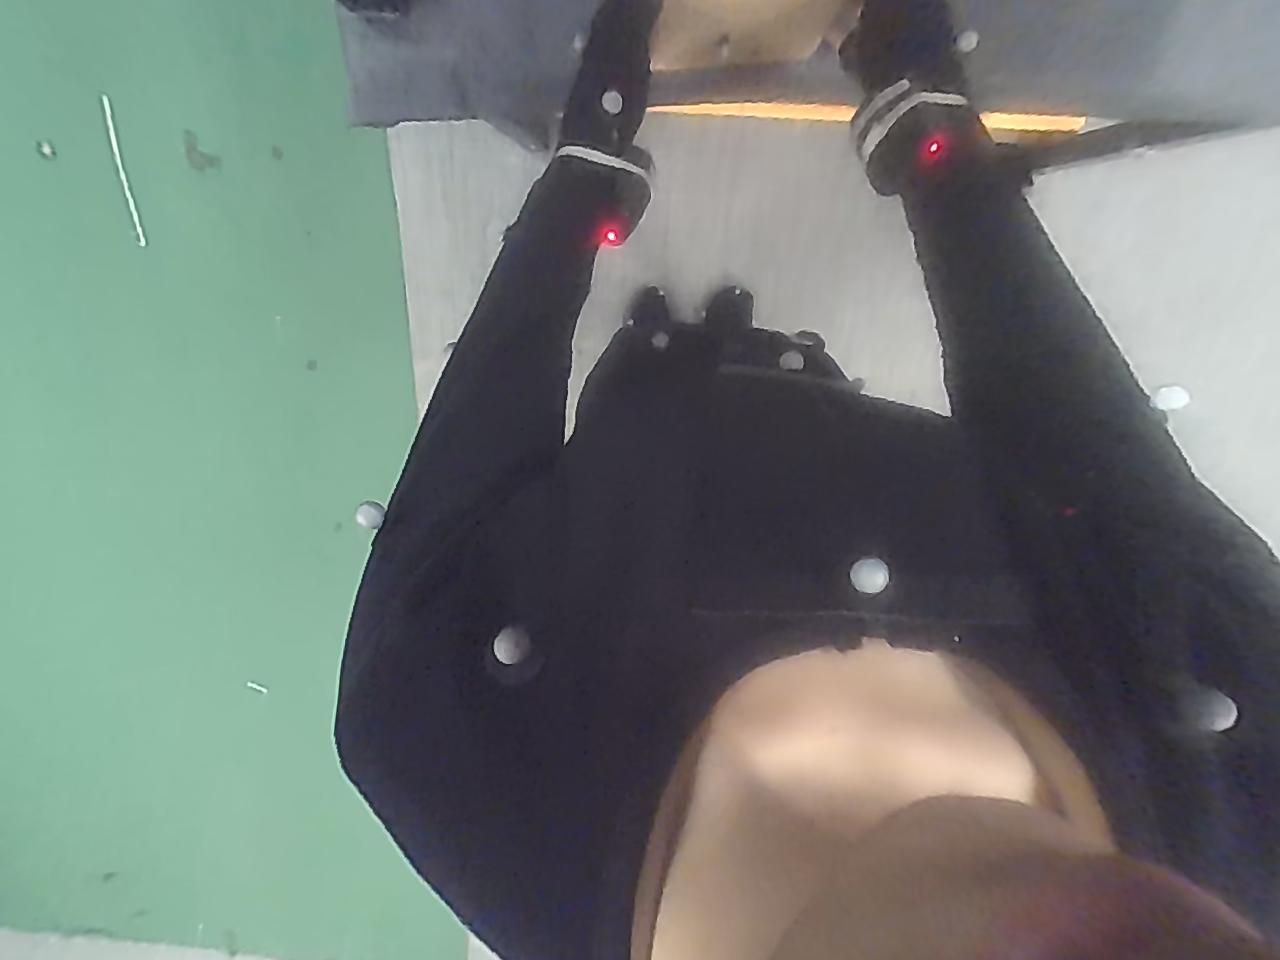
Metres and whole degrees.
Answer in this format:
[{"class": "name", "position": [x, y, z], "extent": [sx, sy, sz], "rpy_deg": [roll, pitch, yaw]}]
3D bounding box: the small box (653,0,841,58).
[{"class": "small box", "position": [0.091, -0.502, 0.466], "extent": [0.168, 0.176, 0.179], "rpy_deg": [-2, 113, 4]}]
